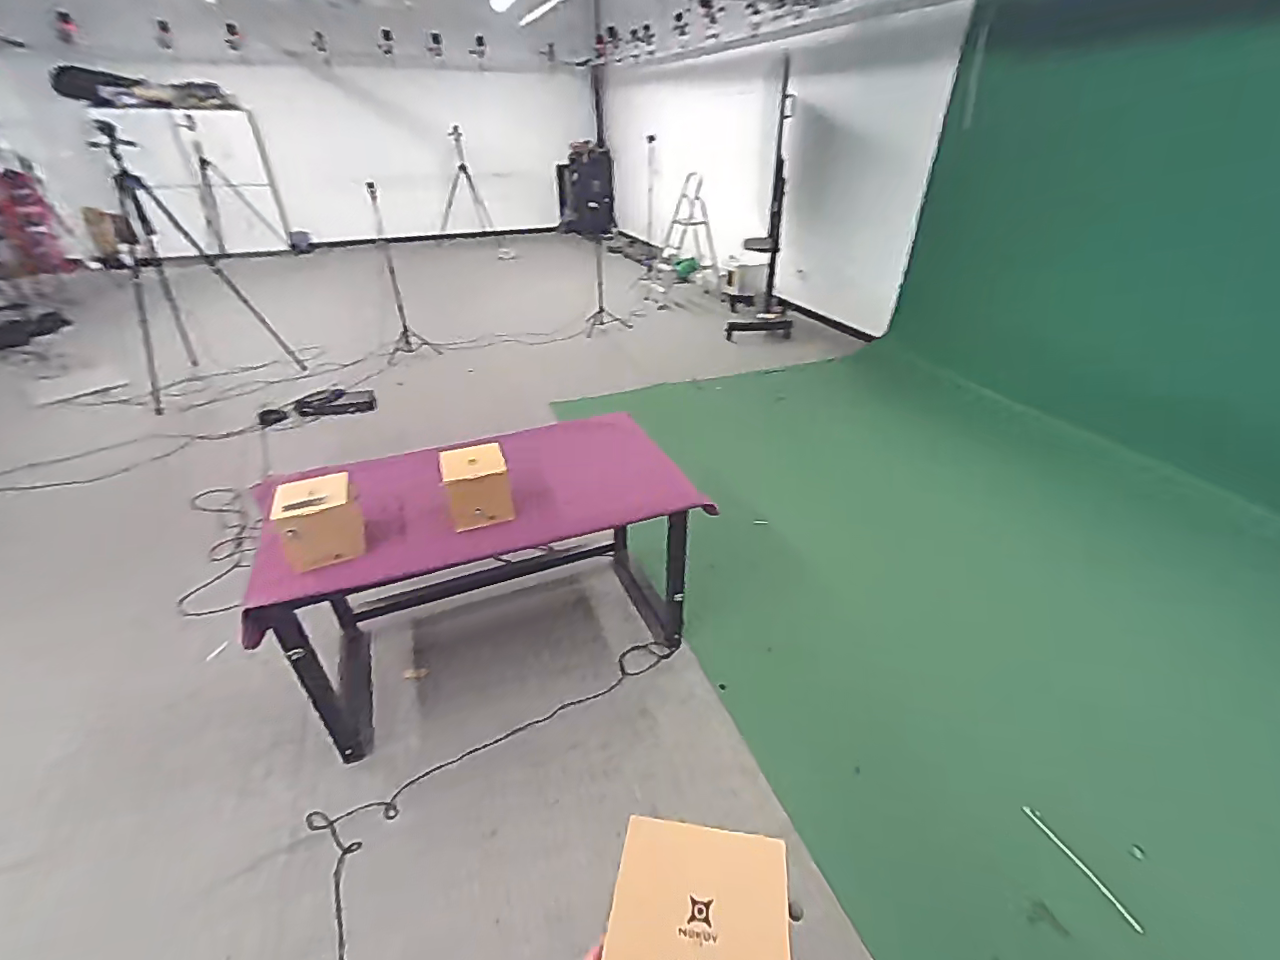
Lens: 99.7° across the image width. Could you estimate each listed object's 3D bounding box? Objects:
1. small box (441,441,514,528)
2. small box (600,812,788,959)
[{"bbox_3d":[-0.464,0.012,1.543,0.168,0.176,0.179,-12,35,-18],"label":"small box"},{"bbox_3d":[0.055,0.478,0.540,0.168,0.176,0.179,2,29,10],"label":"small box"}]
